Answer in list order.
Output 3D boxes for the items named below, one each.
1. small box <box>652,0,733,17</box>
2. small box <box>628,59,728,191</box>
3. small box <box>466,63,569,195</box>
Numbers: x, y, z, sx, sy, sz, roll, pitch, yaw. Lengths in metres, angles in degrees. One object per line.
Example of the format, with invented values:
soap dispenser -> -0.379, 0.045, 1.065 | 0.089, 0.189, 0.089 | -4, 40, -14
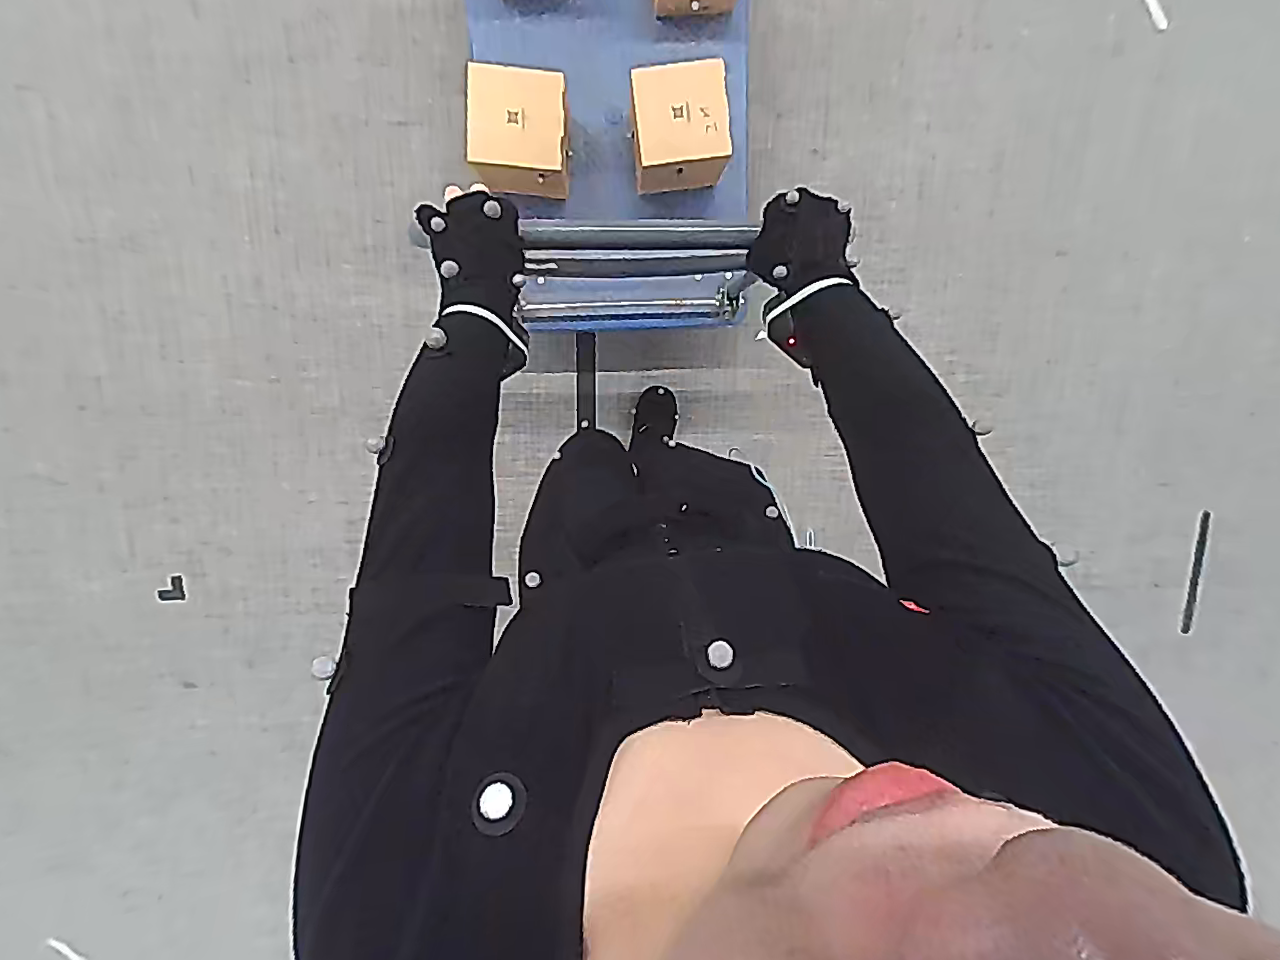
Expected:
small box -> 0.105, -1.030, 1.022 | 0.168, 0.176, 0.179 | -5, 102, -2
small box -> 0.070, -0.699, 1.086 | 0.179, 0.176, 0.168 | -8, 102, -1
small box -> -0.236, -0.683, 1.072 | 0.179, 0.176, 0.168 | 3, 101, -6
